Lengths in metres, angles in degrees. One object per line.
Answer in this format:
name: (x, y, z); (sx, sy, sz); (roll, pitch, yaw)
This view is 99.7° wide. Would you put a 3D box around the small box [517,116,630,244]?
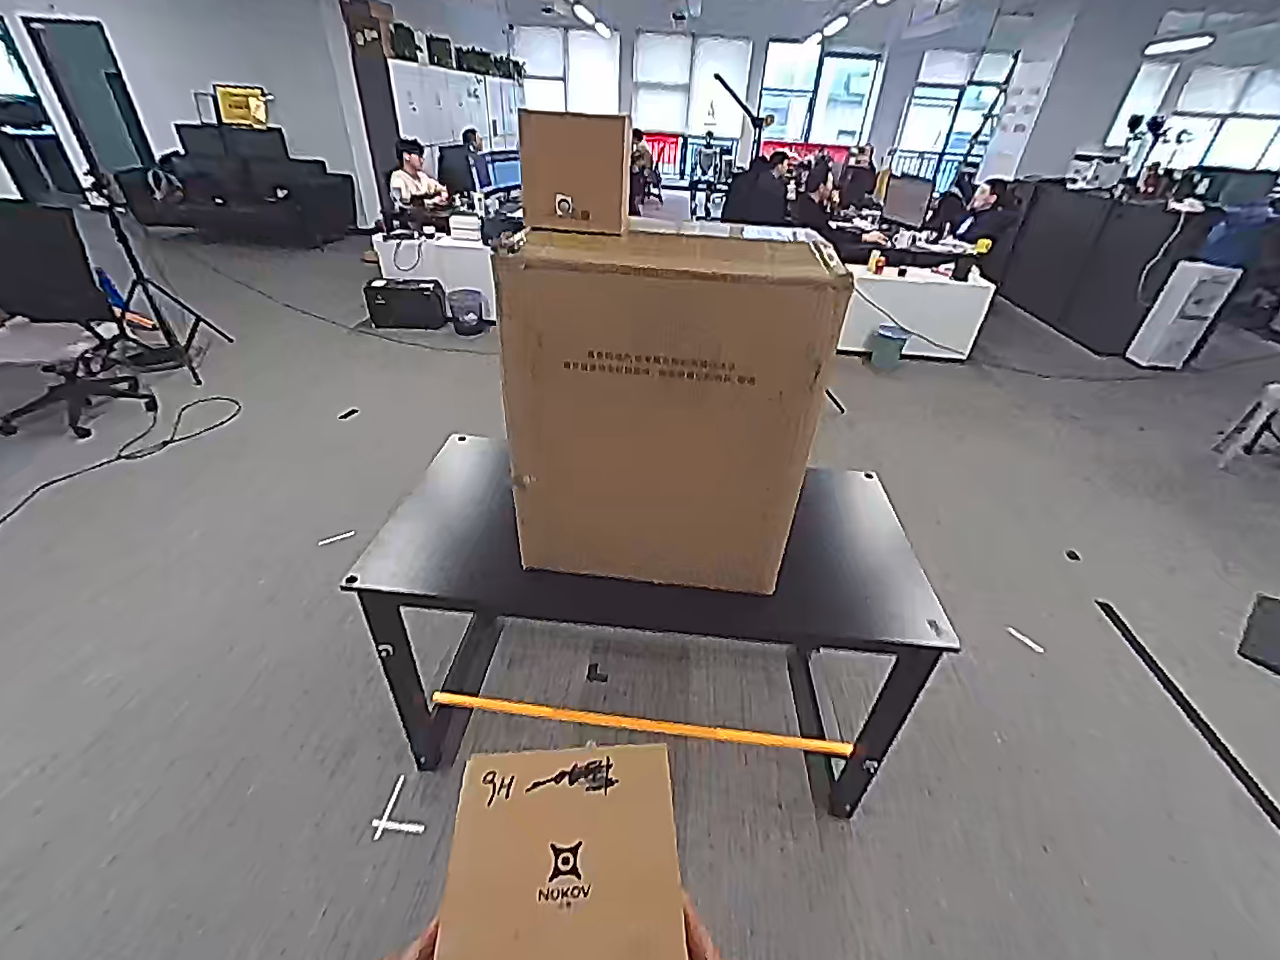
small box: (-0.105, -0.512, 0.921); (0.168, 0.176, 0.179); (3, 33, 0)
